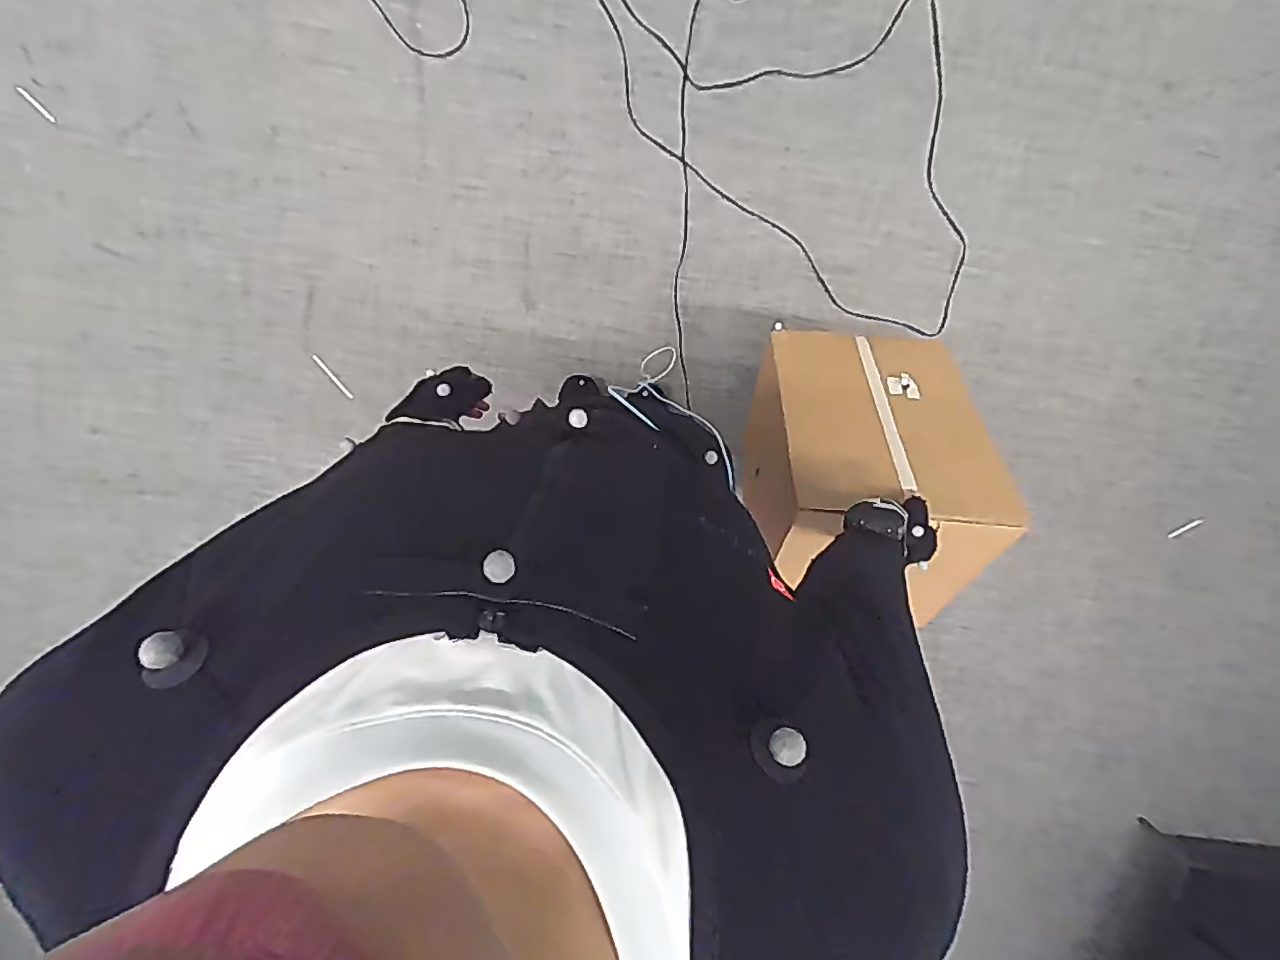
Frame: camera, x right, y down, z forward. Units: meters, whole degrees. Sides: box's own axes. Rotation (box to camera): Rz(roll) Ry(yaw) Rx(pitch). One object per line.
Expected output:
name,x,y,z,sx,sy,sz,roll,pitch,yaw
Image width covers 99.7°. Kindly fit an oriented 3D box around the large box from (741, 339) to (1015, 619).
large box,0.371,-0.001,0.979,0.320,0.408,0.320,5,140,0
